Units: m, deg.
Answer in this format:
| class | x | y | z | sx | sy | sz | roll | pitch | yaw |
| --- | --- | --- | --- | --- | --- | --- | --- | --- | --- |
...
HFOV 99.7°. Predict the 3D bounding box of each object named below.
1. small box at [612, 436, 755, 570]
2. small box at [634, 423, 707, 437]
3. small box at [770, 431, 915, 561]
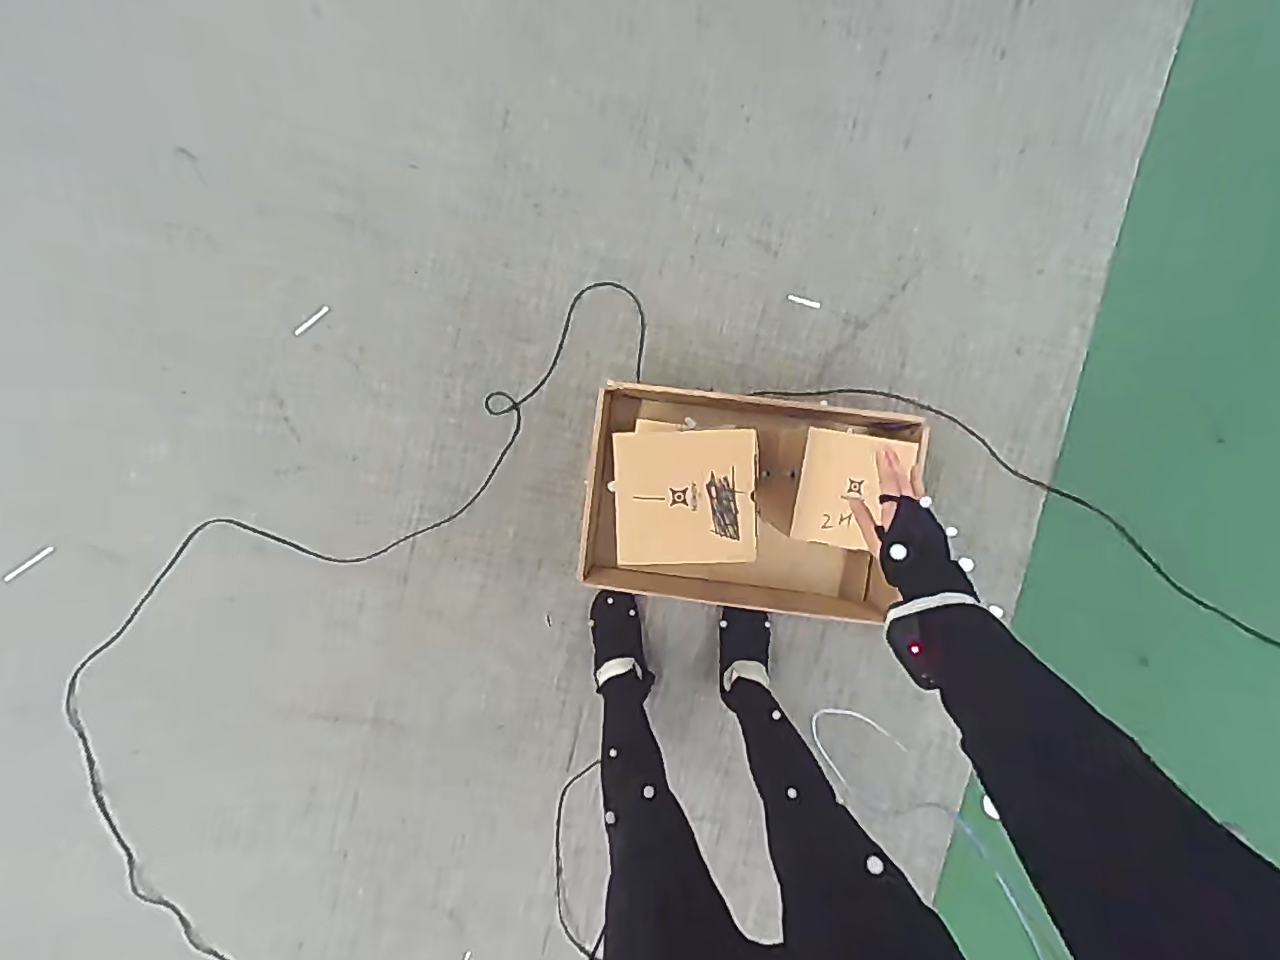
| class | x | y | z | sx | sy | sz | roll | pitch | yaw |
| --- | --- | --- | --- | --- | --- | --- | --- | --- | --- |
| small box | 0.055 | 0.023 | 0.743 | 0.179 | 0.176 | 0.168 | -2 | 94 | 2 |
| small box | 0.069 | -0.018 | 1.067 | 0.179 | 0.176 | 0.168 | 8 | 95 | 0 |
| small box | 0.321 | 0.020 | 0.893 | 0.168 | 0.176 | 0.179 | 10 | 94 | 3 |
